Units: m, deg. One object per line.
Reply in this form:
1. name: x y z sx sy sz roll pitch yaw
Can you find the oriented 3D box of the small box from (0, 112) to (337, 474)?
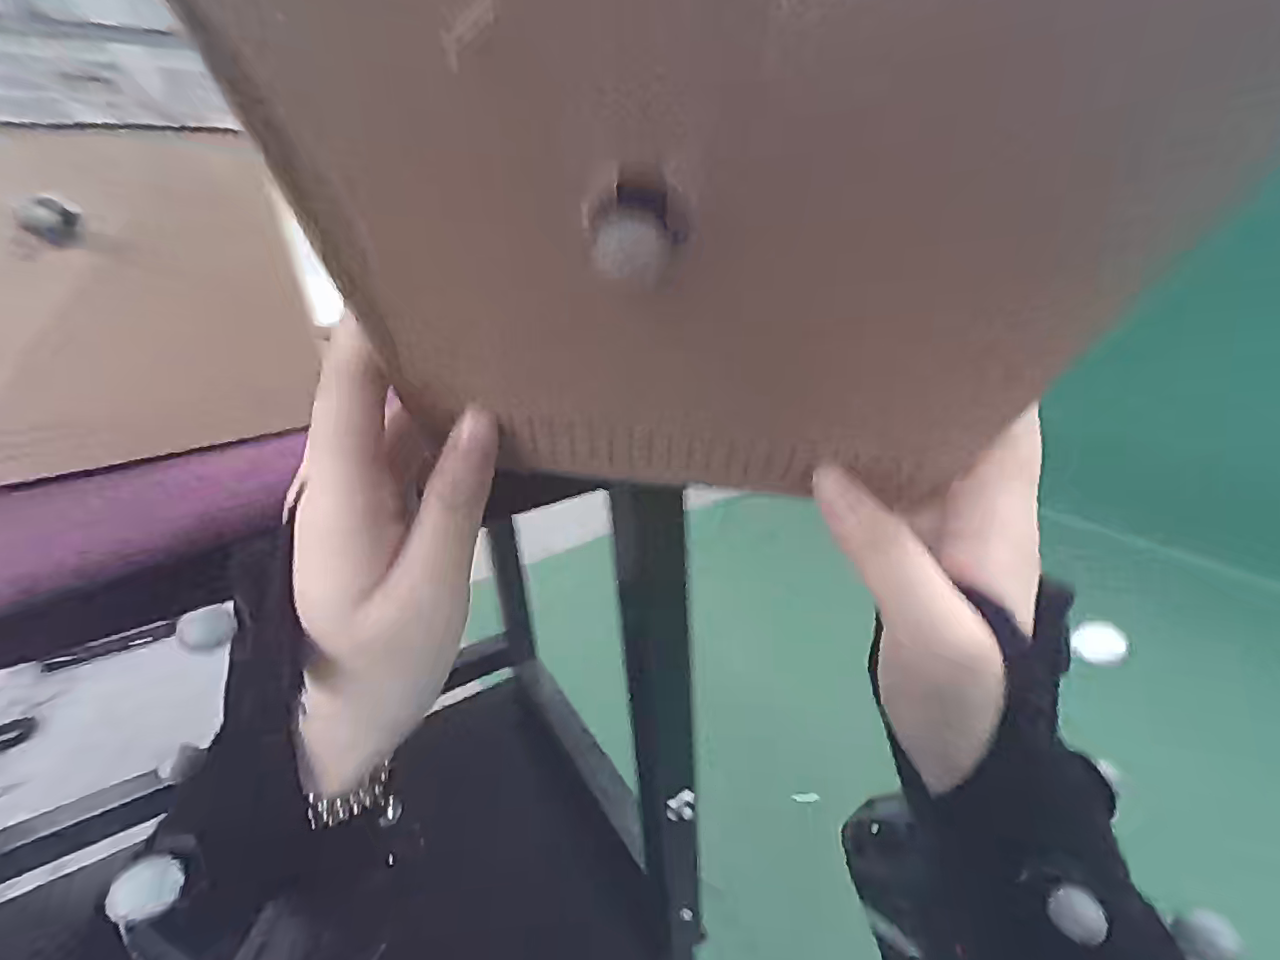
1. small box: -0.319 -0.116 0.348 0.179 0.176 0.168 -17 26 -26
